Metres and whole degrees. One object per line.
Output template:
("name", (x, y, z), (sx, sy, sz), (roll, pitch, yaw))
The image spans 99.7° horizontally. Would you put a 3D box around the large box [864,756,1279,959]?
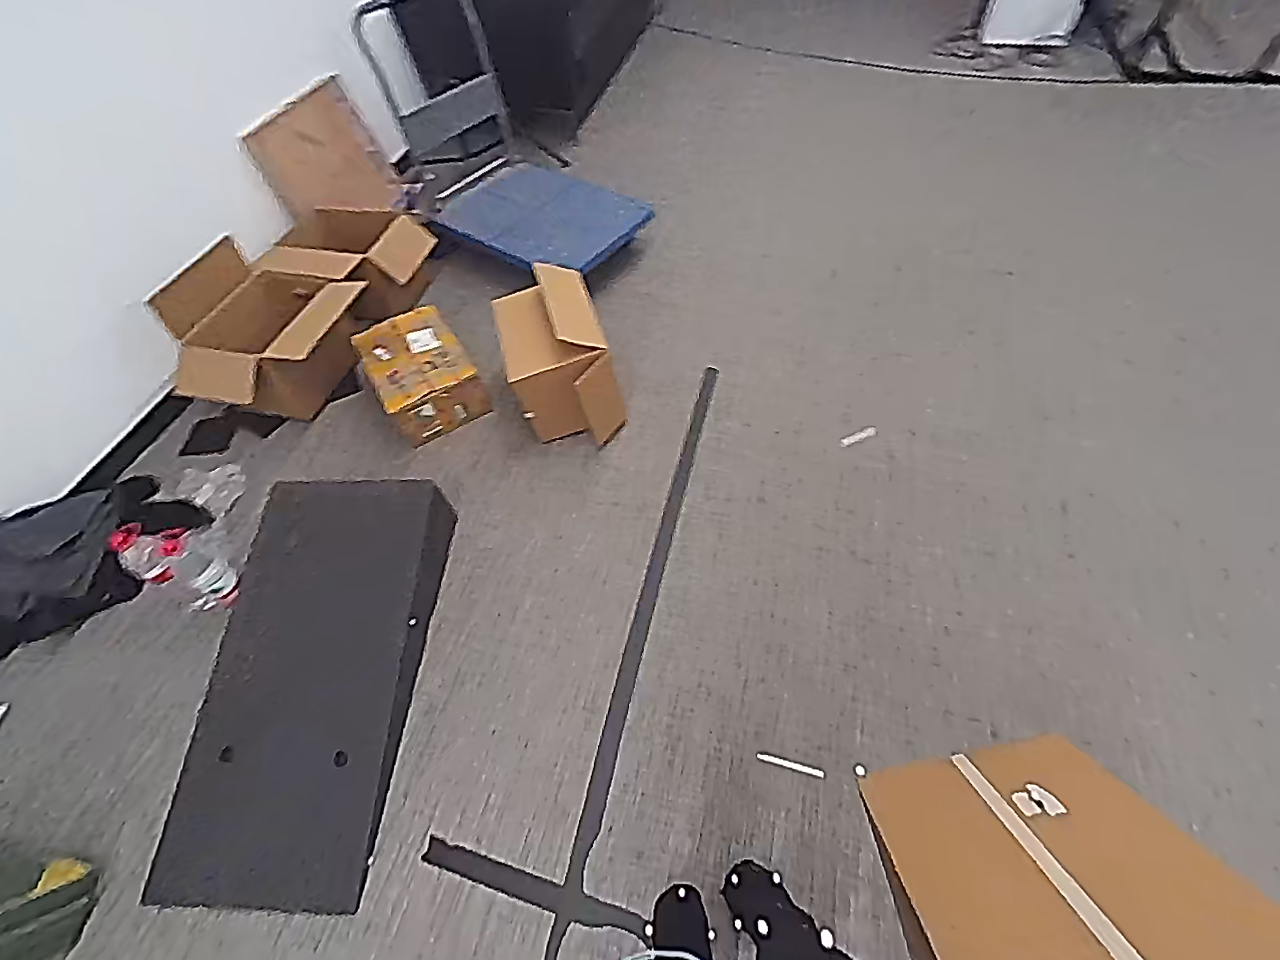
("large box", (0.516, 0.605, 0.640), (0.320, 0.408, 0.320), (-15, 89, 8))
